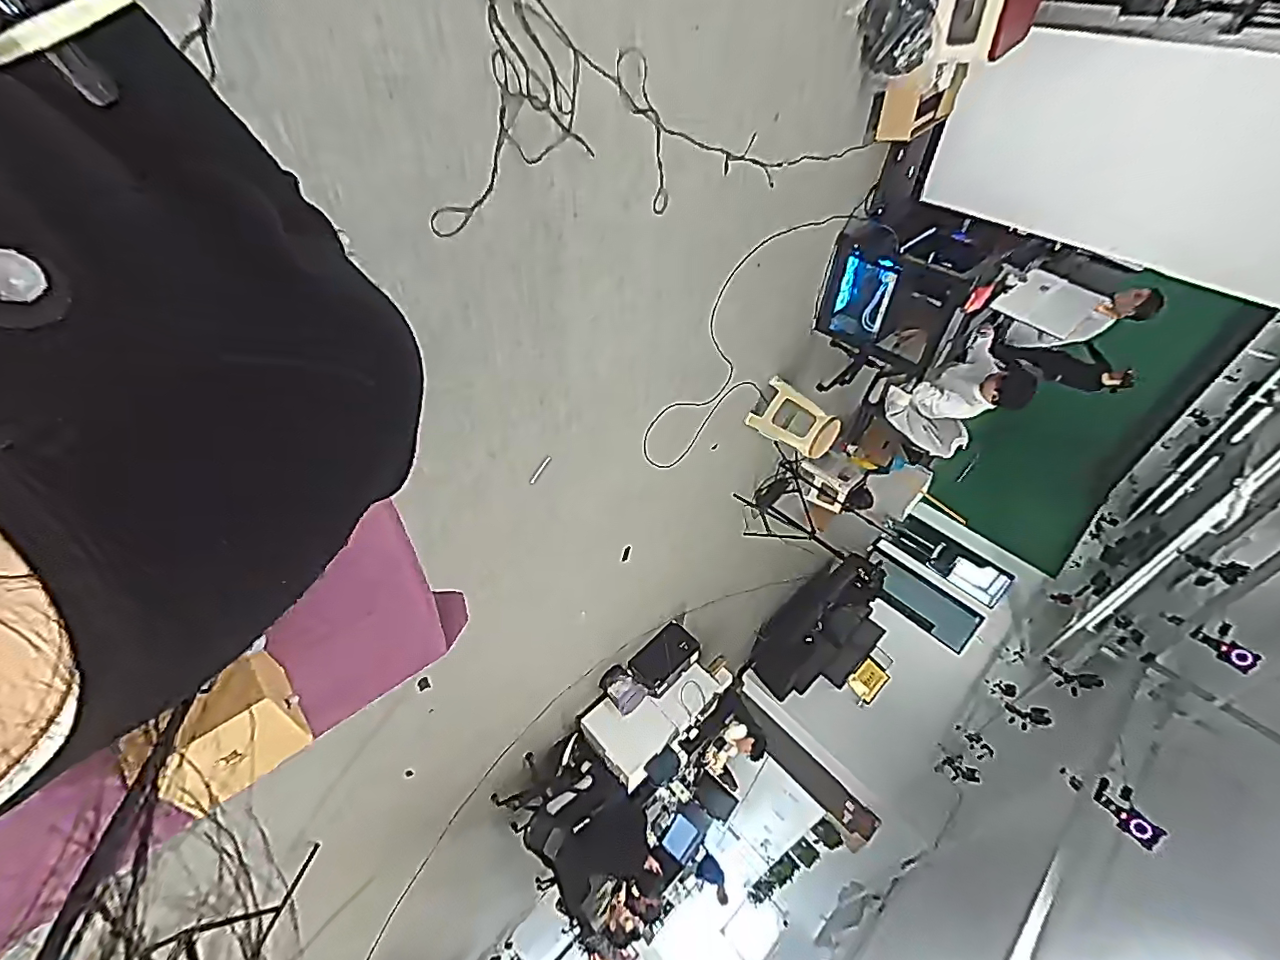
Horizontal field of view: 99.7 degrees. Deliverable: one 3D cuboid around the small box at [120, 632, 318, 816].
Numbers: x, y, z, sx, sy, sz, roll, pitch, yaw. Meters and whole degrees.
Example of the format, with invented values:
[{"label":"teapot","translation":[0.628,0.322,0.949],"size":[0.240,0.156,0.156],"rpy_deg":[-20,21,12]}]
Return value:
[{"label":"small box","translation":[-0.641,0.364,0.830],"size":[0.168,0.176,0.179],"rpy_deg":[-33,145,-30]}]
